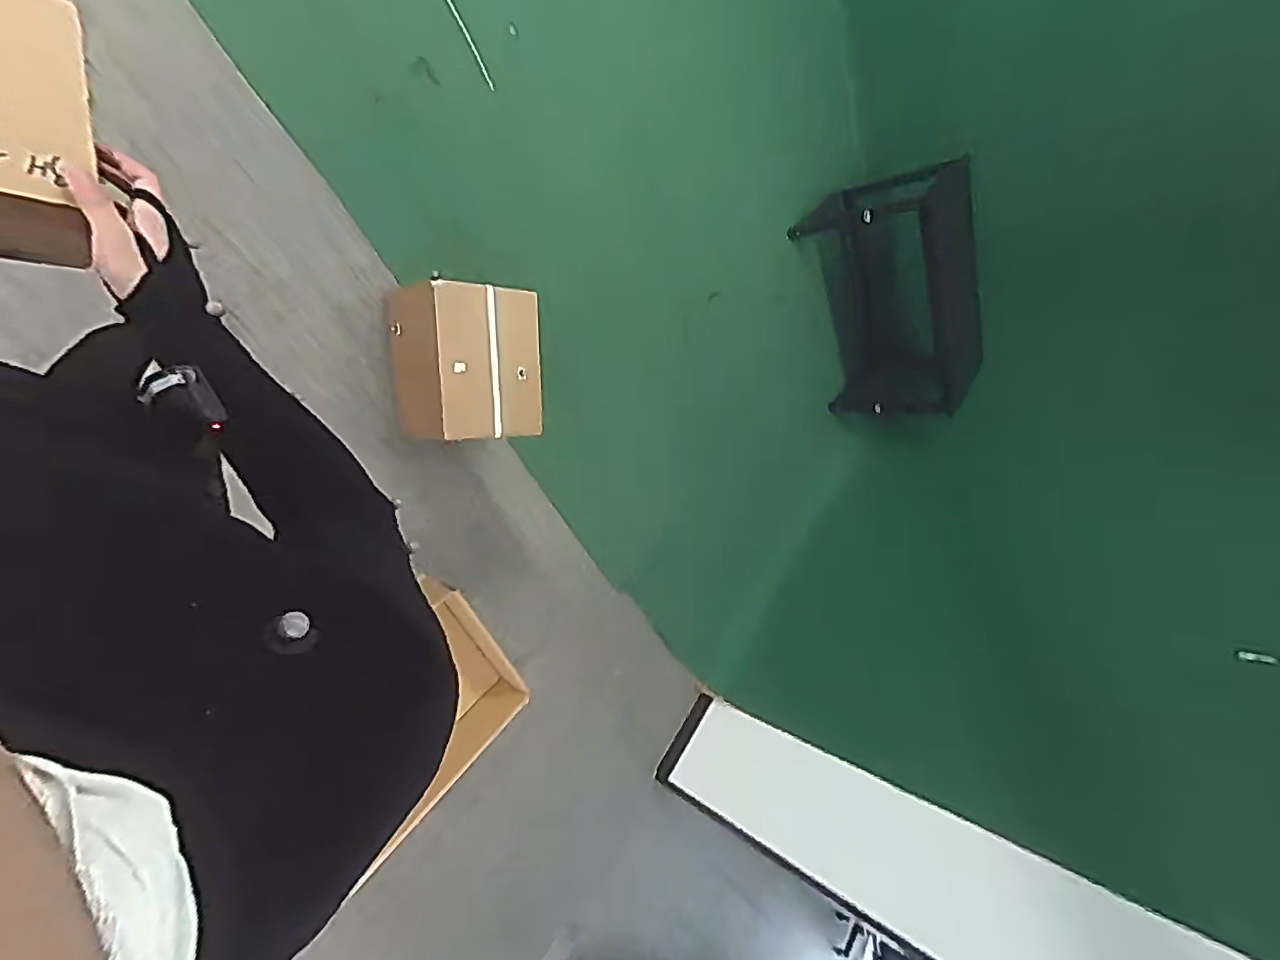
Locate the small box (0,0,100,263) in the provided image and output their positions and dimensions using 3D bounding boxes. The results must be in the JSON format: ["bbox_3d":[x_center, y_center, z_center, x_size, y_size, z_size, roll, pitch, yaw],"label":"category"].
[{"bbox_3d":[-0.580,-0.306,0.449,0.168,0.176,0.179,-8,95,-48],"label":"small box"}]
